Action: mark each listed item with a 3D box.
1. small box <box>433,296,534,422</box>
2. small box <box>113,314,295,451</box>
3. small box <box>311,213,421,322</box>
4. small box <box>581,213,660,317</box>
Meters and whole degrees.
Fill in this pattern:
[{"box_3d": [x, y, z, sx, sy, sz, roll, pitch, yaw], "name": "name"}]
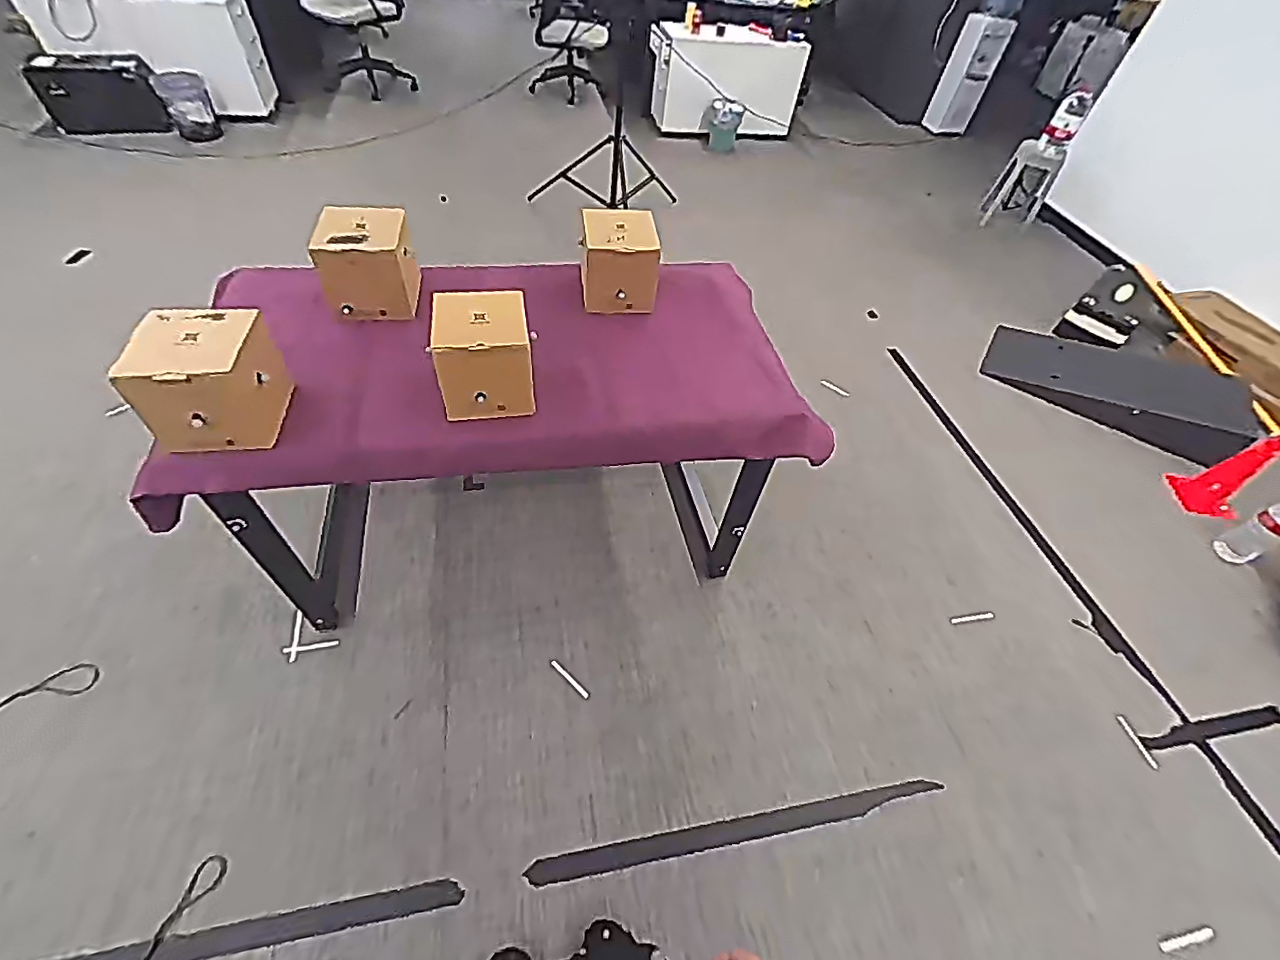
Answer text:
[{"box_3d": [-0.297, -0.233, 1.043, 0.168, 0.176, 0.179, -6, 51, -12], "name": "small box"}, {"box_3d": [-0.724, -0.161, 0.927, 0.168, 0.176, 0.179, -4, 51, -11], "name": "small box"}, {"box_3d": [-0.591, -0.465, 1.192, 0.168, 0.176, 0.179, -3, 52, -10], "name": "small box"}, {"box_3d": [-0.054, -0.516, 1.300, 0.168, 0.176, 0.179, -3, 54, -8], "name": "small box"}]
